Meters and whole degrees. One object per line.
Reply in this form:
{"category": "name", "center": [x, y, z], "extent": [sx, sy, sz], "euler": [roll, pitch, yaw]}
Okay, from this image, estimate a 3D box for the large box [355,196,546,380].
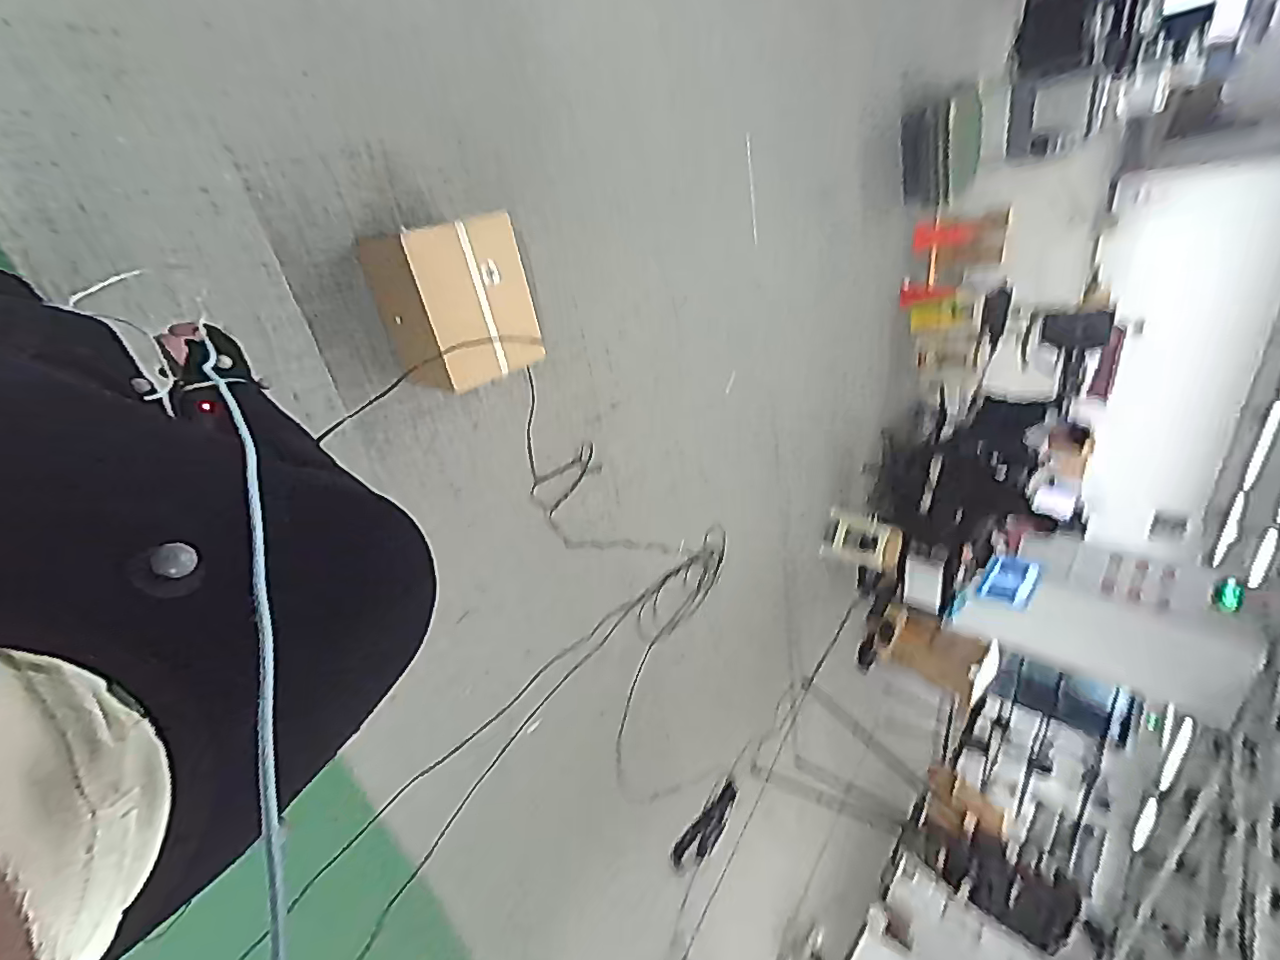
{"category": "large box", "center": [-0.528, -0.536, 1.532], "extent": [0.320, 0.320, 0.408], "euler": [-35, 125, -34]}
